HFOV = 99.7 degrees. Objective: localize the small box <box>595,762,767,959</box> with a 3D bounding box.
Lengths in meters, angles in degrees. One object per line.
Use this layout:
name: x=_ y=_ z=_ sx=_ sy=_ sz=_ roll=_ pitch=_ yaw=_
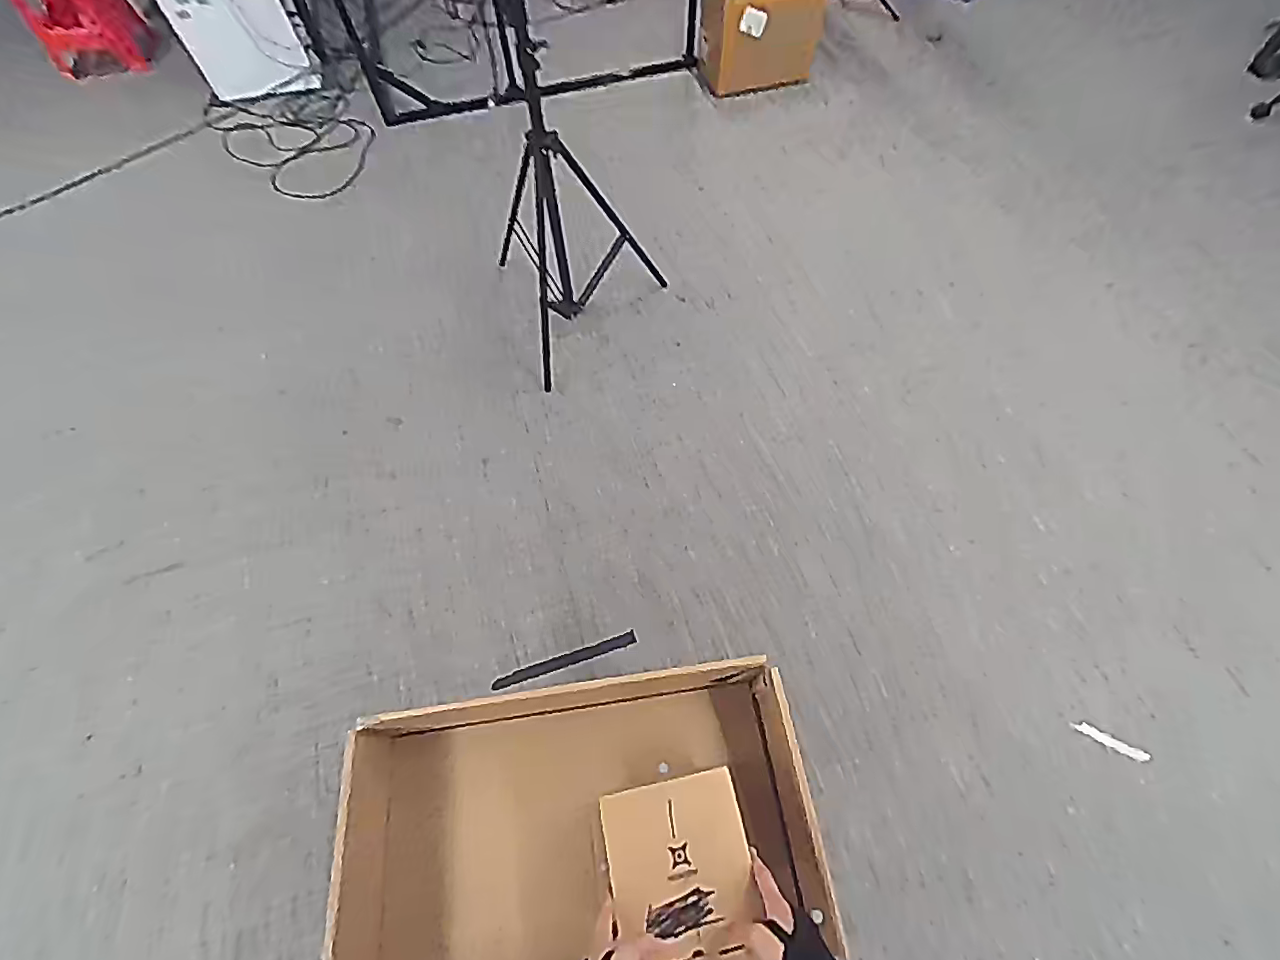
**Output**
small box: x=0.043 y=0.469 z=0.681 sx=0.168 sy=0.176 sz=0.179 roll=-11 pitch=63 yaw=-6
